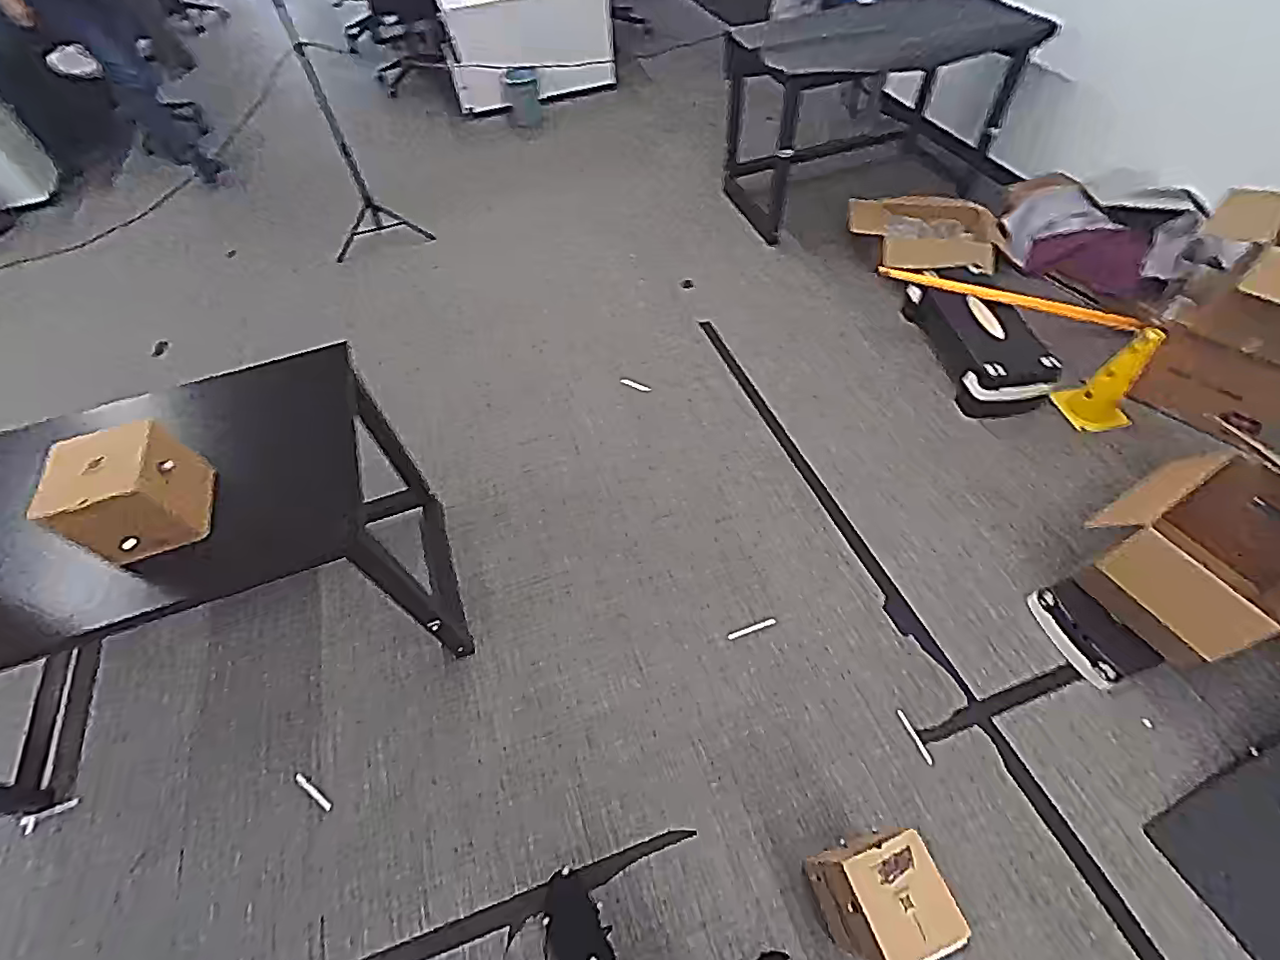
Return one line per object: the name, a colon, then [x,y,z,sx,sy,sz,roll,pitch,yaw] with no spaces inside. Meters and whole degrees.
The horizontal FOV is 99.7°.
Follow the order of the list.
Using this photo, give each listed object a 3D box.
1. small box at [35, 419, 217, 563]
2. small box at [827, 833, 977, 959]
small box: [-0.924,0.022,0.995,0.168,0.176,0.179,-19,56,-9]
small box: [0.487,0.809,1.040,0.168,0.176,0.179,-18,57,-9]
